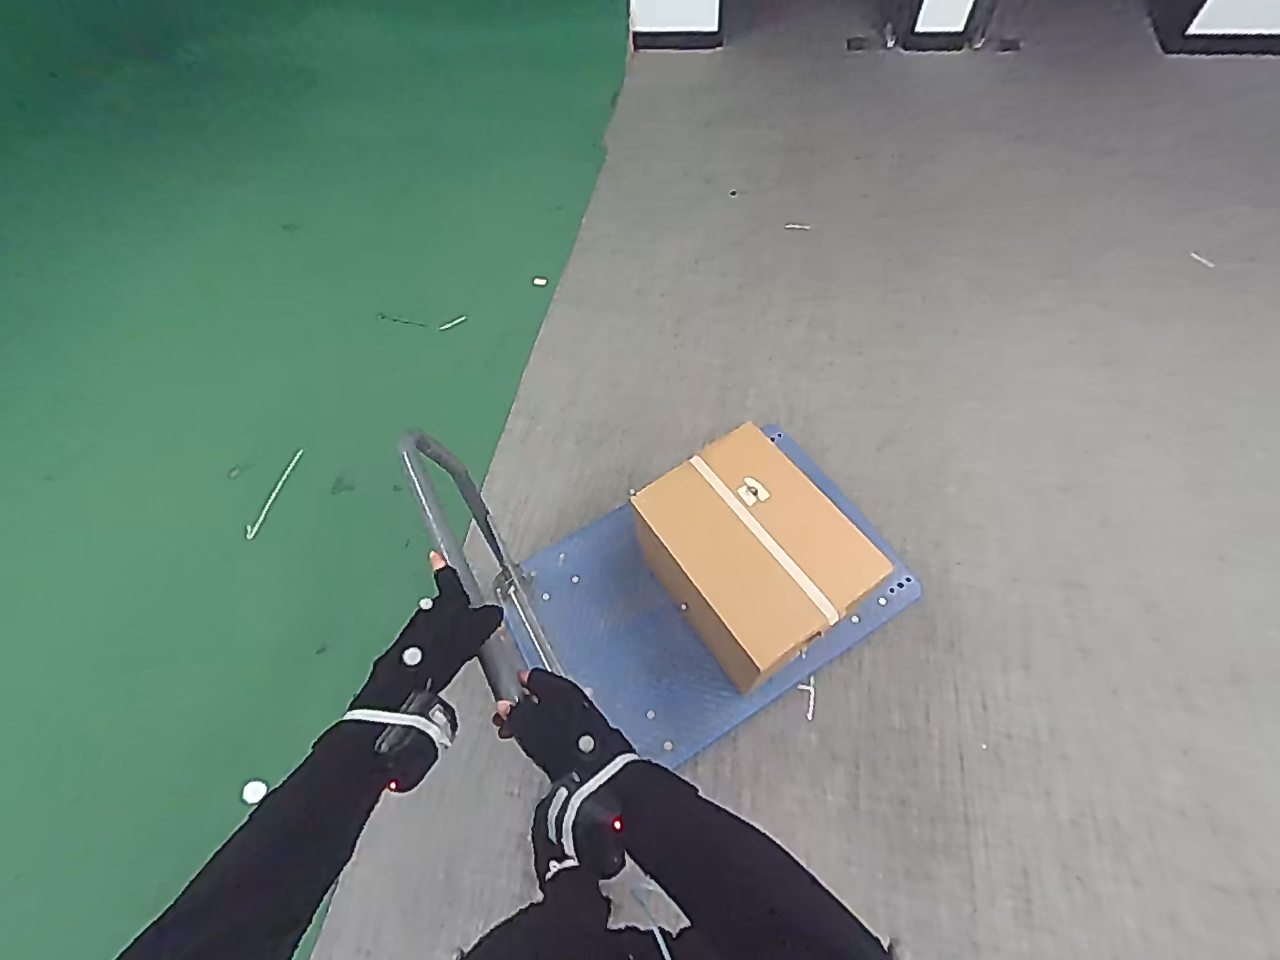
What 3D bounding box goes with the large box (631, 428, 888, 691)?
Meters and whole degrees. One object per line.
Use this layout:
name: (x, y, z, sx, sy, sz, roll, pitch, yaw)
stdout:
large box: (0.232, 0.175, 1.164, 0.320, 0.320, 0.408, -33, 62, -13)
